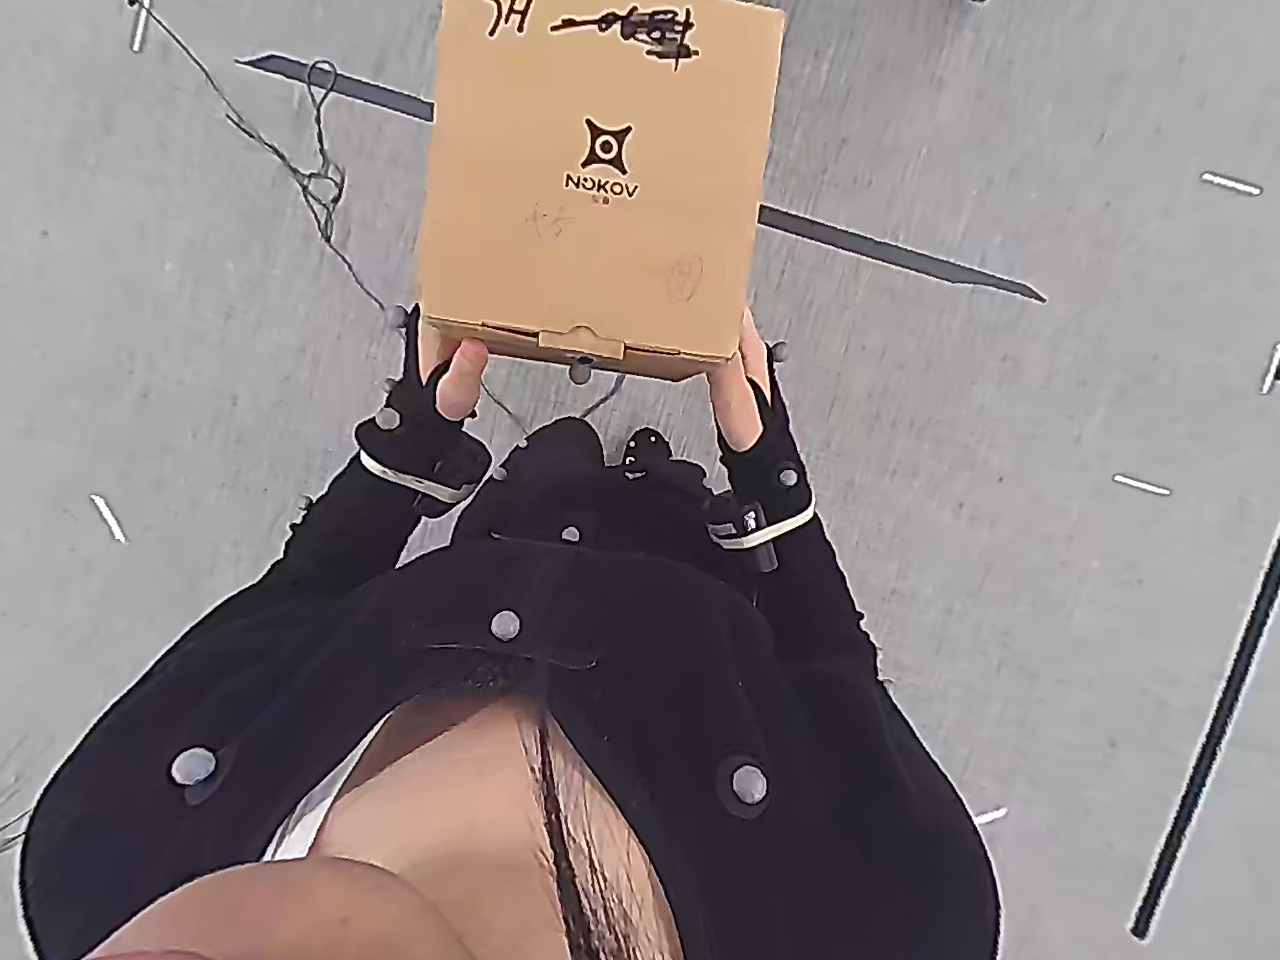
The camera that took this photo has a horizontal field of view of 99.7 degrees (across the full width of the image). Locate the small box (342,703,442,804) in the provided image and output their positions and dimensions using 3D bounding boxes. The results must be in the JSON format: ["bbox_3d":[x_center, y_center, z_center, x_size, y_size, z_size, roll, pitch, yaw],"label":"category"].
[{"bbox_3d":[-0.654,0.719,1.438,0.179,0.176,0.168,10,96,0],"label":"small box"}]

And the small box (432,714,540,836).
[{"bbox_3d":[-0.352,0.679,1.267,0.179,0.176,0.168,19,94,-2],"label":"small box"}]

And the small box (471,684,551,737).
[{"bbox_3d":[-0.352,0.667,1.431,0.179,0.176,0.168,18,93,-2],"label":"small box"}]

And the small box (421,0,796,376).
[{"bbox_3d":[-0.023,-0.165,0.343,0.168,0.176,0.179,8,97,-7],"label":"small box"}]
